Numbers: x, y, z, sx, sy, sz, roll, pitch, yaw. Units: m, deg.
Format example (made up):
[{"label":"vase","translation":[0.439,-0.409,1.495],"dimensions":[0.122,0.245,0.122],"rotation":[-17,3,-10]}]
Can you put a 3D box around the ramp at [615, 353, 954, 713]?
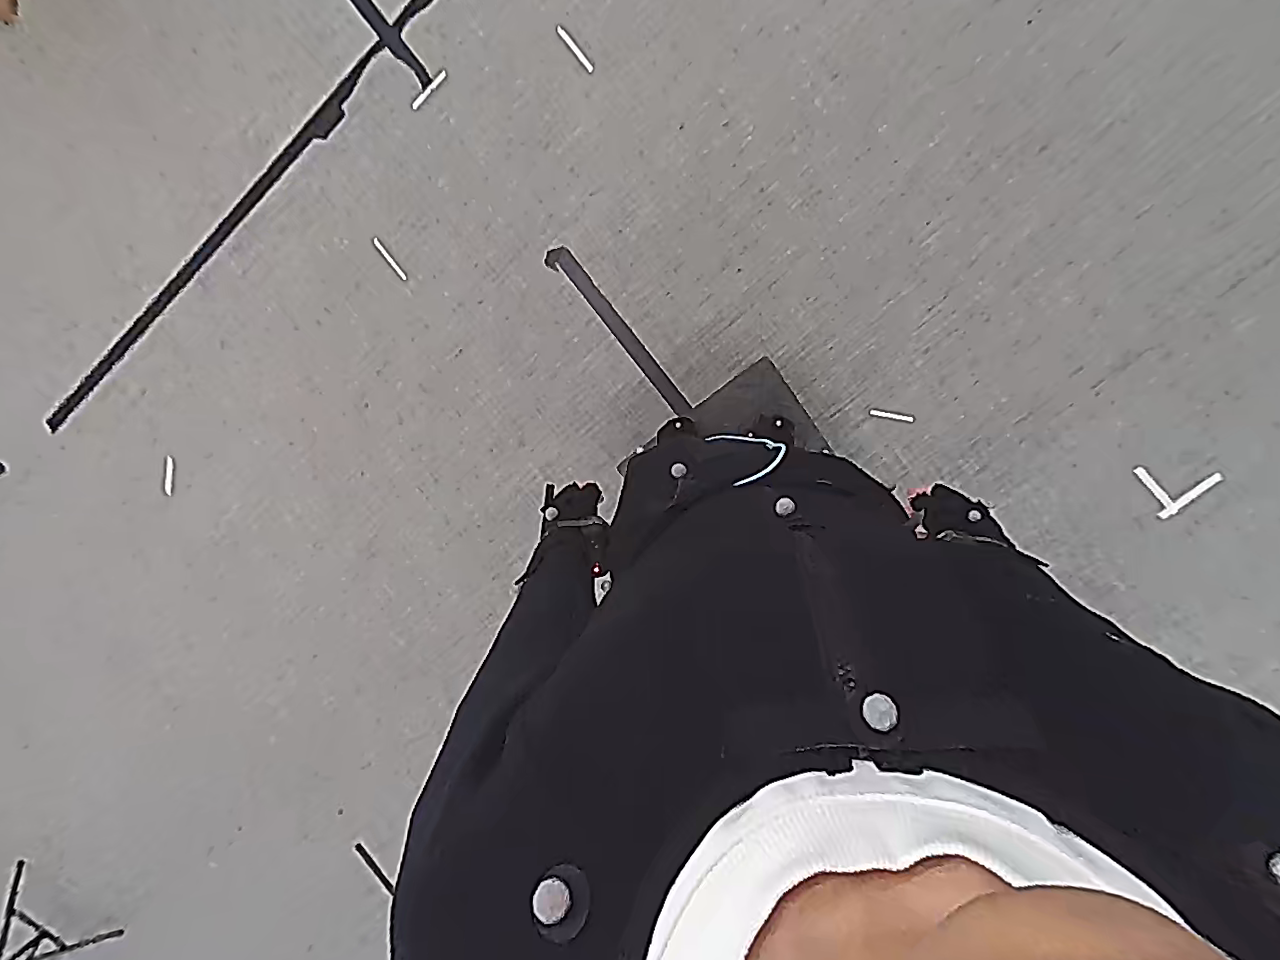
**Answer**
[{"label":"ramp","translation":[0.423,0.191,1.508],"dimensions":[0.509,0.206,0.991],"rotation":[-38,91,9]}]
